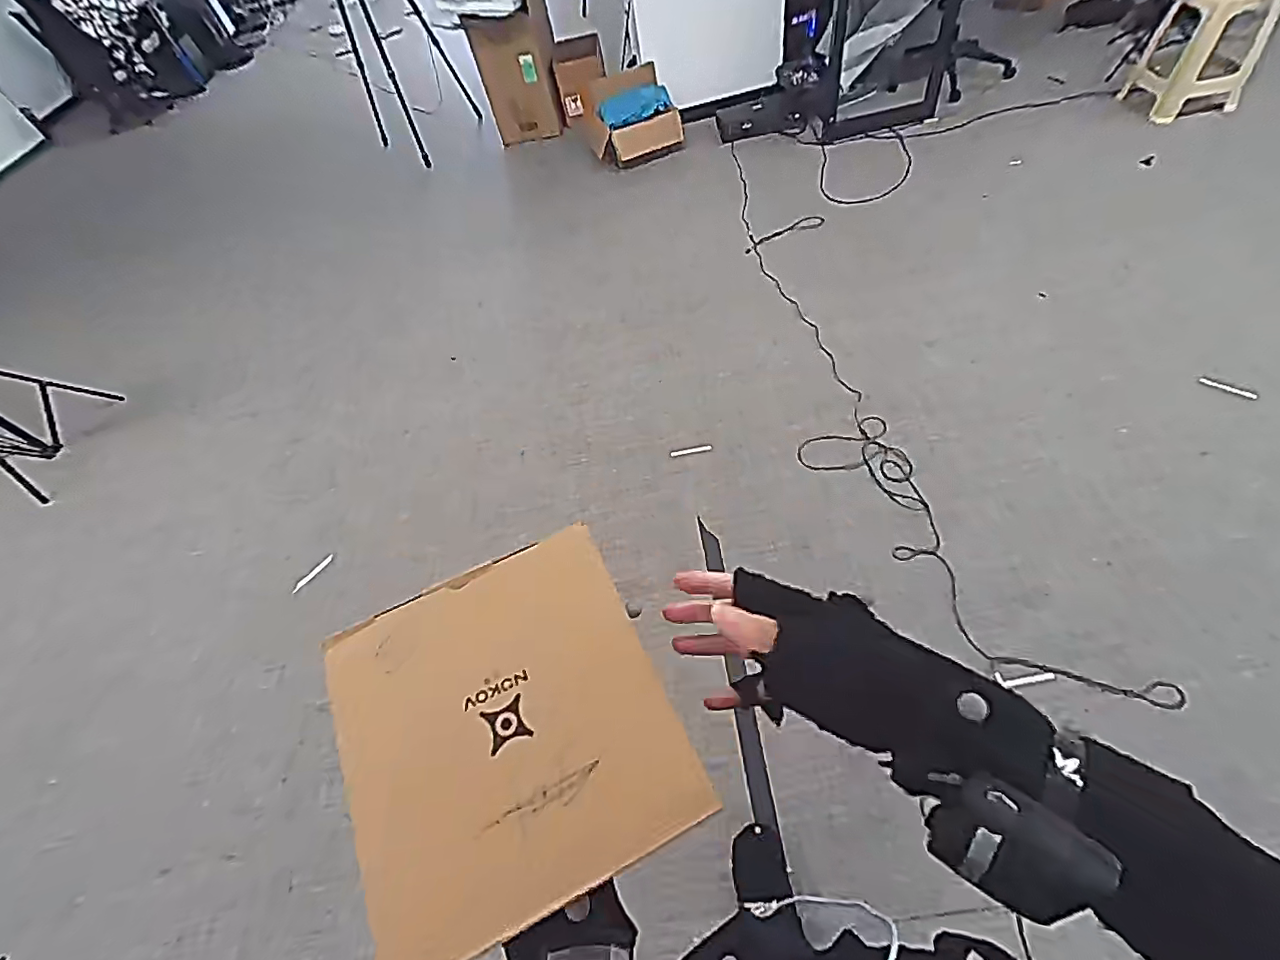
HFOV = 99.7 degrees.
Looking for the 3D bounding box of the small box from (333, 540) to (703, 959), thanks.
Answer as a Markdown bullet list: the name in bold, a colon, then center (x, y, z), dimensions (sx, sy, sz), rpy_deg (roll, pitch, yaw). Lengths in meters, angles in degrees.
- **small box**: center (-0.073, 0.175, 0.365), dimensions (0.168, 0.176, 0.179), rpy_deg (-23, 60, -10)
